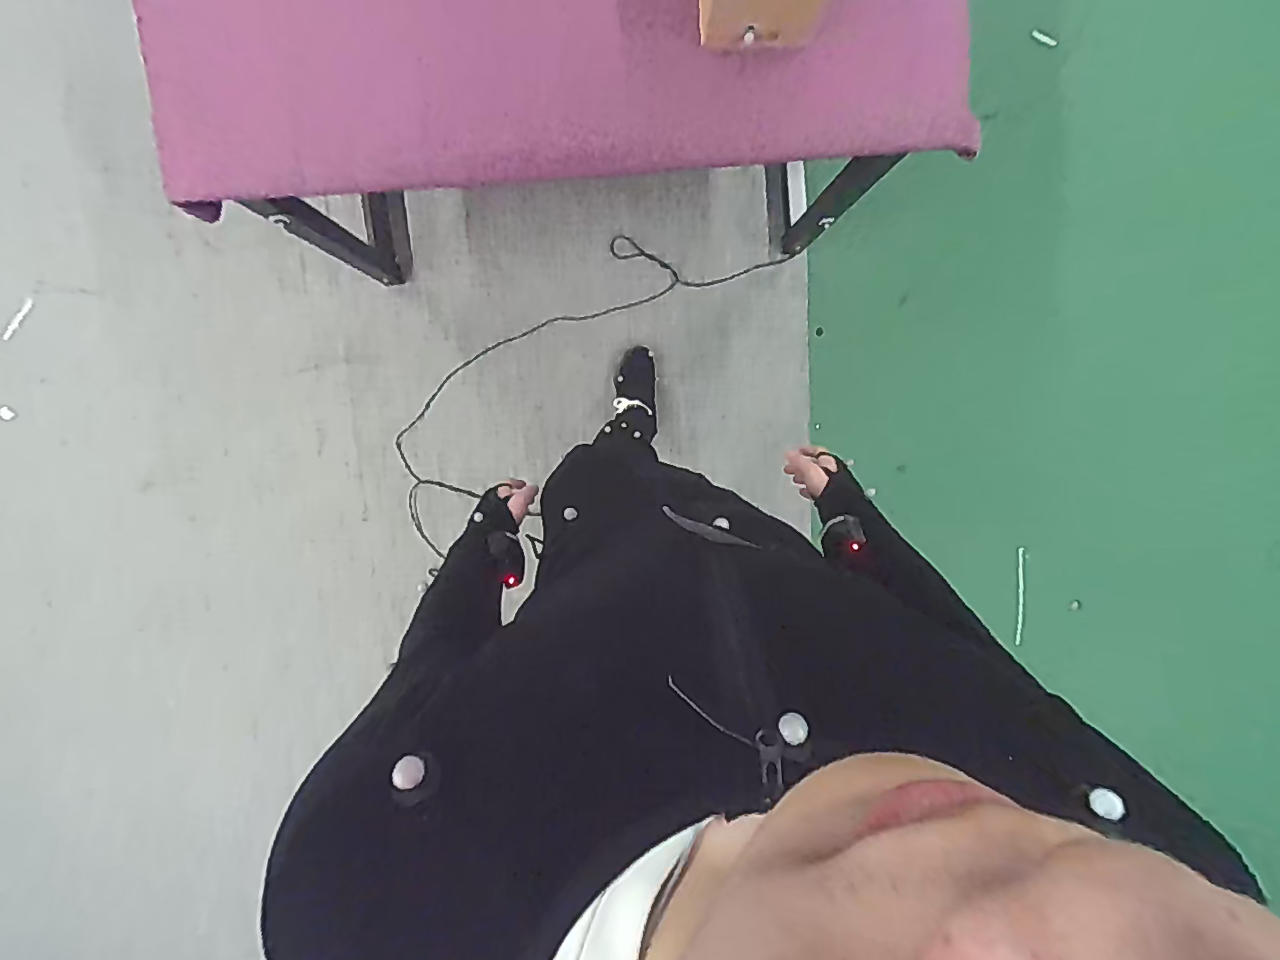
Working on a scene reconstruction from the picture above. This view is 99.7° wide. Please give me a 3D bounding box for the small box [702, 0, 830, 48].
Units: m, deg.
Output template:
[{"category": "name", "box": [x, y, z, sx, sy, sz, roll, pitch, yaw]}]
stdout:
[{"category": "small box", "box": [0.170, -0.718, 0.708, 0.168, 0.176, 0.179, -3, 96, 0]}]
